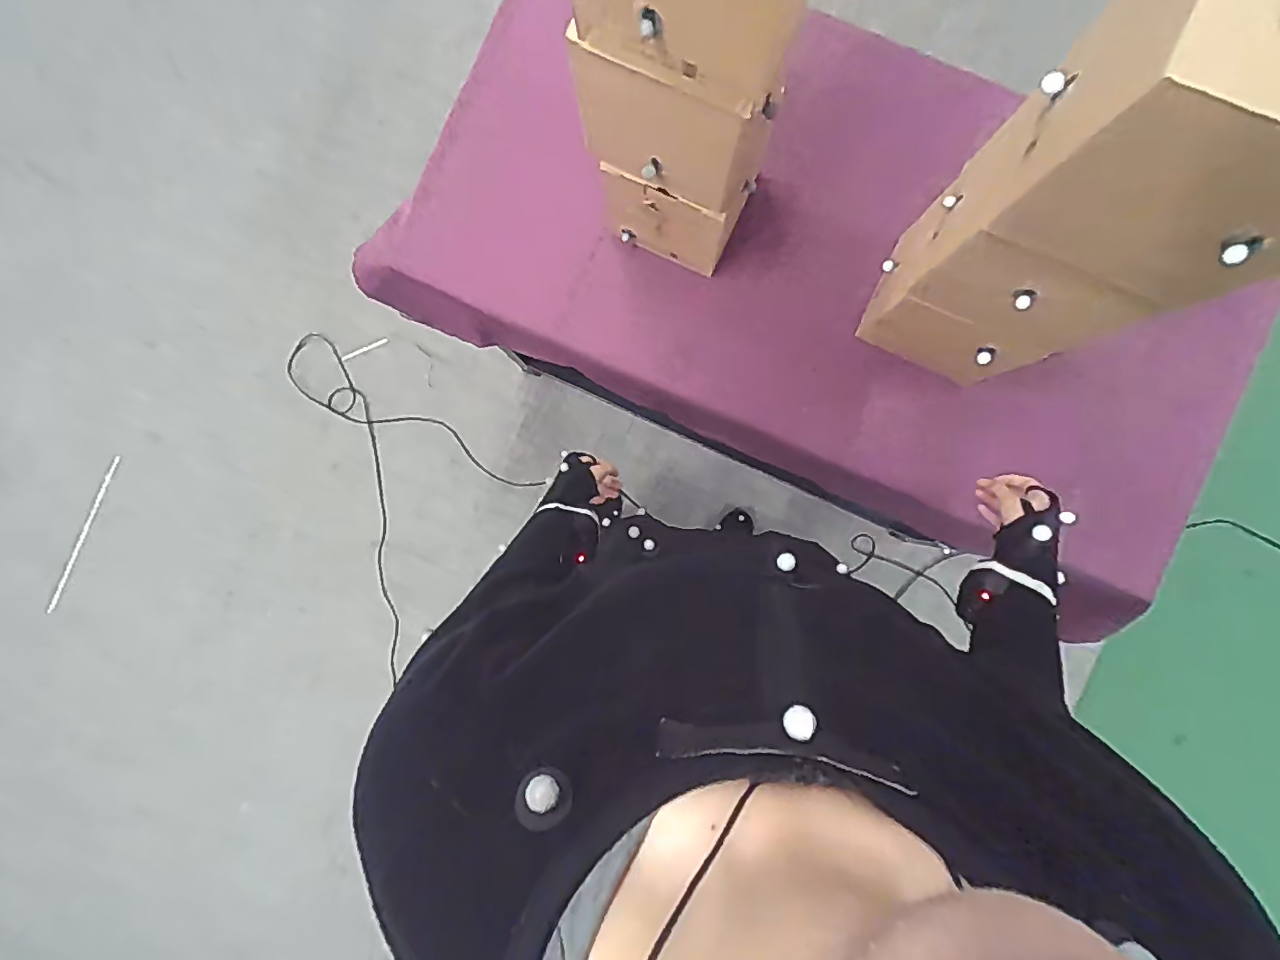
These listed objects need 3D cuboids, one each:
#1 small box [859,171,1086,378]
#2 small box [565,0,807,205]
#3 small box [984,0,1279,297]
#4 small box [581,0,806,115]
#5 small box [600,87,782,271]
[{"bbox_3d":[0.421,-0.246,0.698,0.179,0.176,0.168,26,89,3],"label":"small box"},{"bbox_3d":[0.047,-0.418,0.552,0.179,0.176,0.168,26,89,2],"label":"small box"},{"bbox_3d":[0.392,-0.250,0.371,0.179,0.176,0.168,26,89,3],"label":"small box"},{"bbox_3d":[0.053,-0.422,0.388,0.168,0.176,0.179,24,90,3],"label":"small box"},{"bbox_3d":[0.063,-0.410,0.716,0.168,0.176,0.179,25,89,2],"label":"small box"}]
